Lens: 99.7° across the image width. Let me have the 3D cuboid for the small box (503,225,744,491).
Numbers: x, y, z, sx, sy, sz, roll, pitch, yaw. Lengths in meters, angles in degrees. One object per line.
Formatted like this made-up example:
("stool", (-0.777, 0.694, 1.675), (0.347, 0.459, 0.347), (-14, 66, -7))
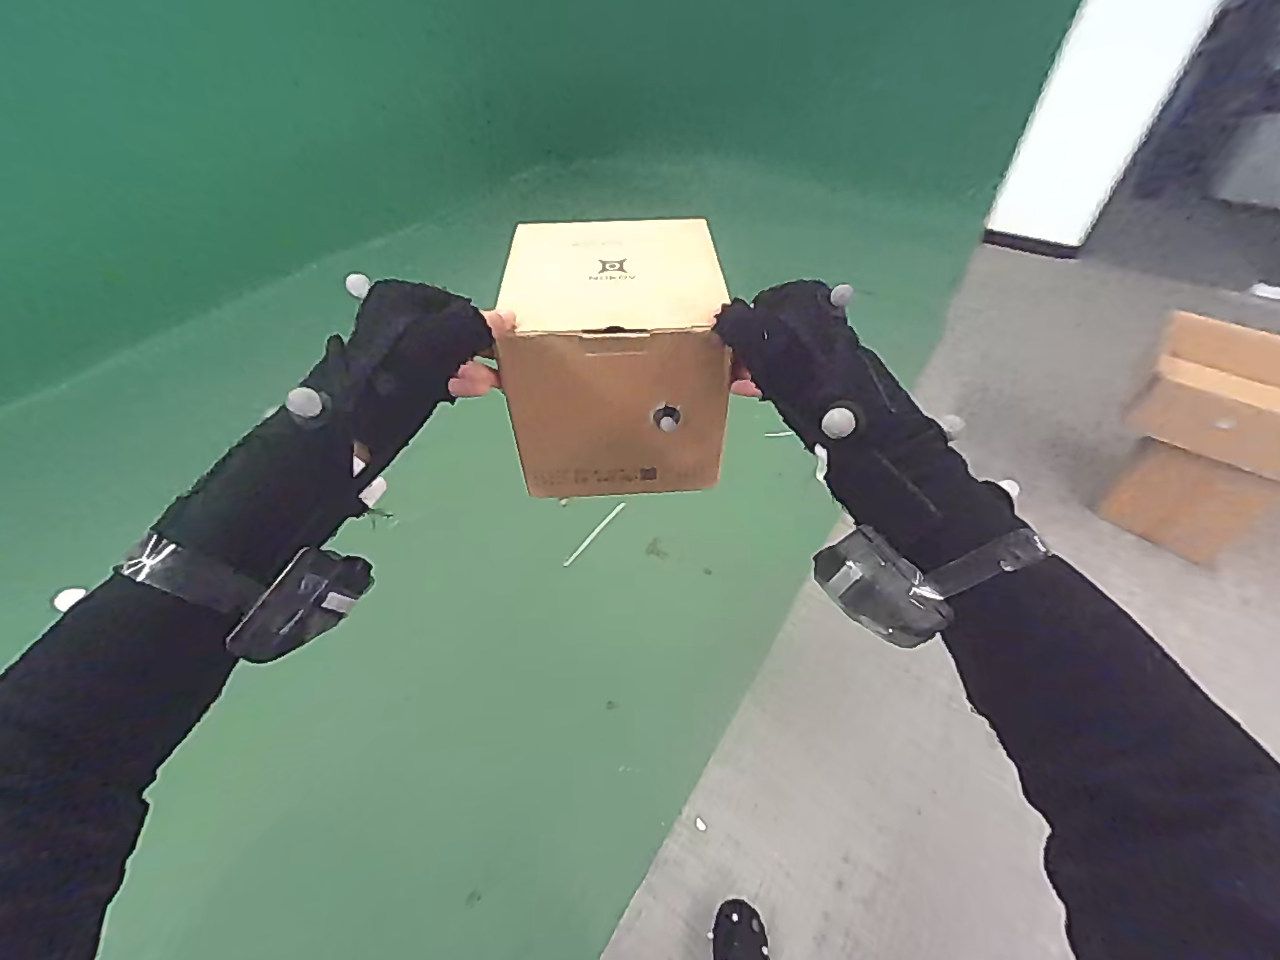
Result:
("small box", (-0.012, -0.103, 0.473), (0.168, 0.176, 0.179), (-1, 46, -1))
